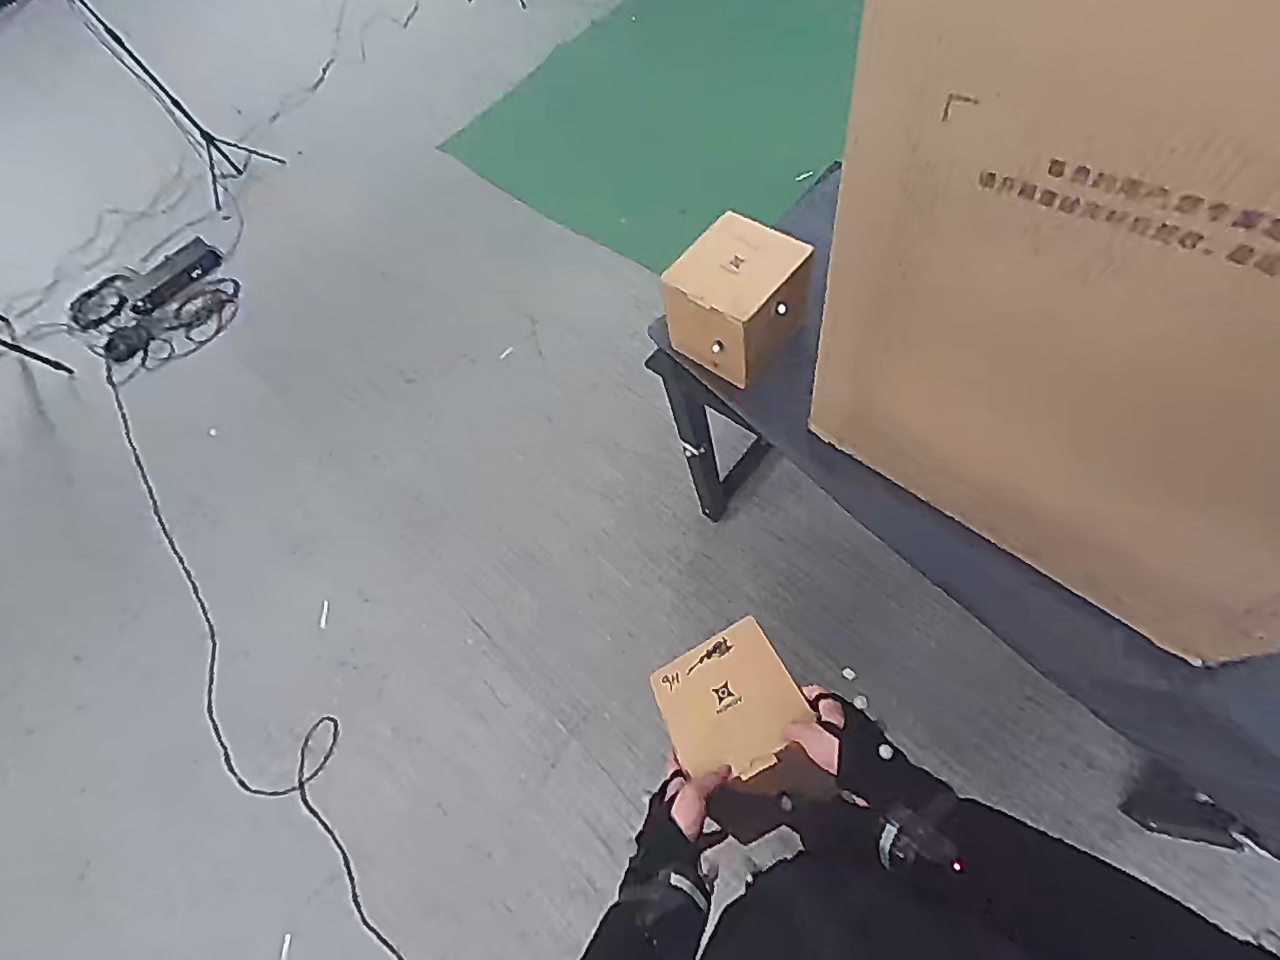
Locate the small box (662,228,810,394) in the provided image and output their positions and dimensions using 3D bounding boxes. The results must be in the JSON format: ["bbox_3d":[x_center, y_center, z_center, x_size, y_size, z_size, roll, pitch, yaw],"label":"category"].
[{"bbox_3d":[0.162,-0.278,0.911,0.168,0.176,0.179,36,74,24],"label":"small box"}]
